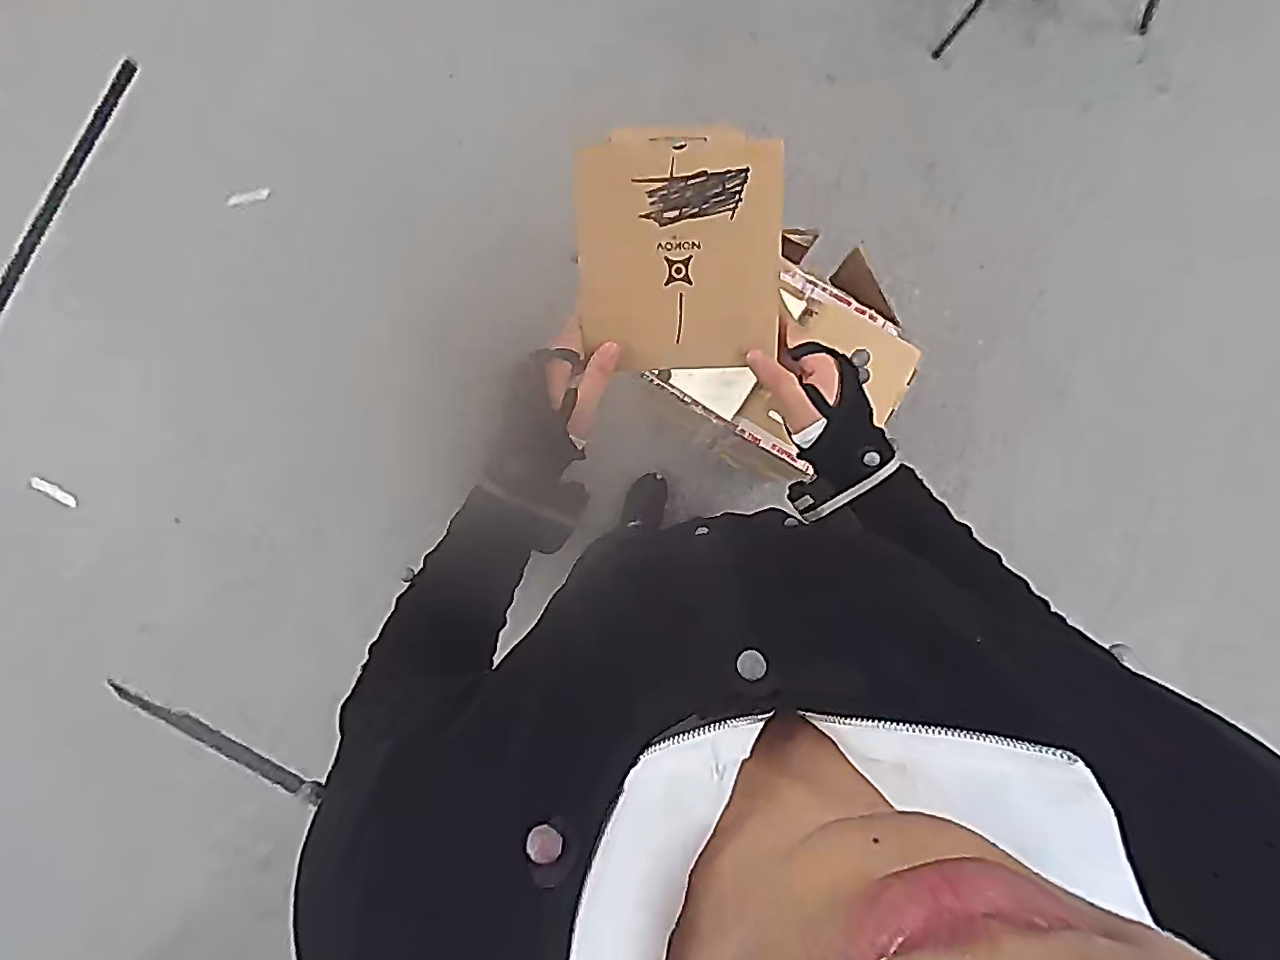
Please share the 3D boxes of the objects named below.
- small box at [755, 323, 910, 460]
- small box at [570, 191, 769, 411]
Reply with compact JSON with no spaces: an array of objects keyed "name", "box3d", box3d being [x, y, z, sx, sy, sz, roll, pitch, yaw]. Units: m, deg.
[{"name":"small box","box3d":[0.331,-0.147,0.965,0.179,0.176,0.168,30,89,1]},{"name":"small box","box3d":[0.021,-0.165,0.531,0.168,0.176,0.179,-2,105,-2]}]
